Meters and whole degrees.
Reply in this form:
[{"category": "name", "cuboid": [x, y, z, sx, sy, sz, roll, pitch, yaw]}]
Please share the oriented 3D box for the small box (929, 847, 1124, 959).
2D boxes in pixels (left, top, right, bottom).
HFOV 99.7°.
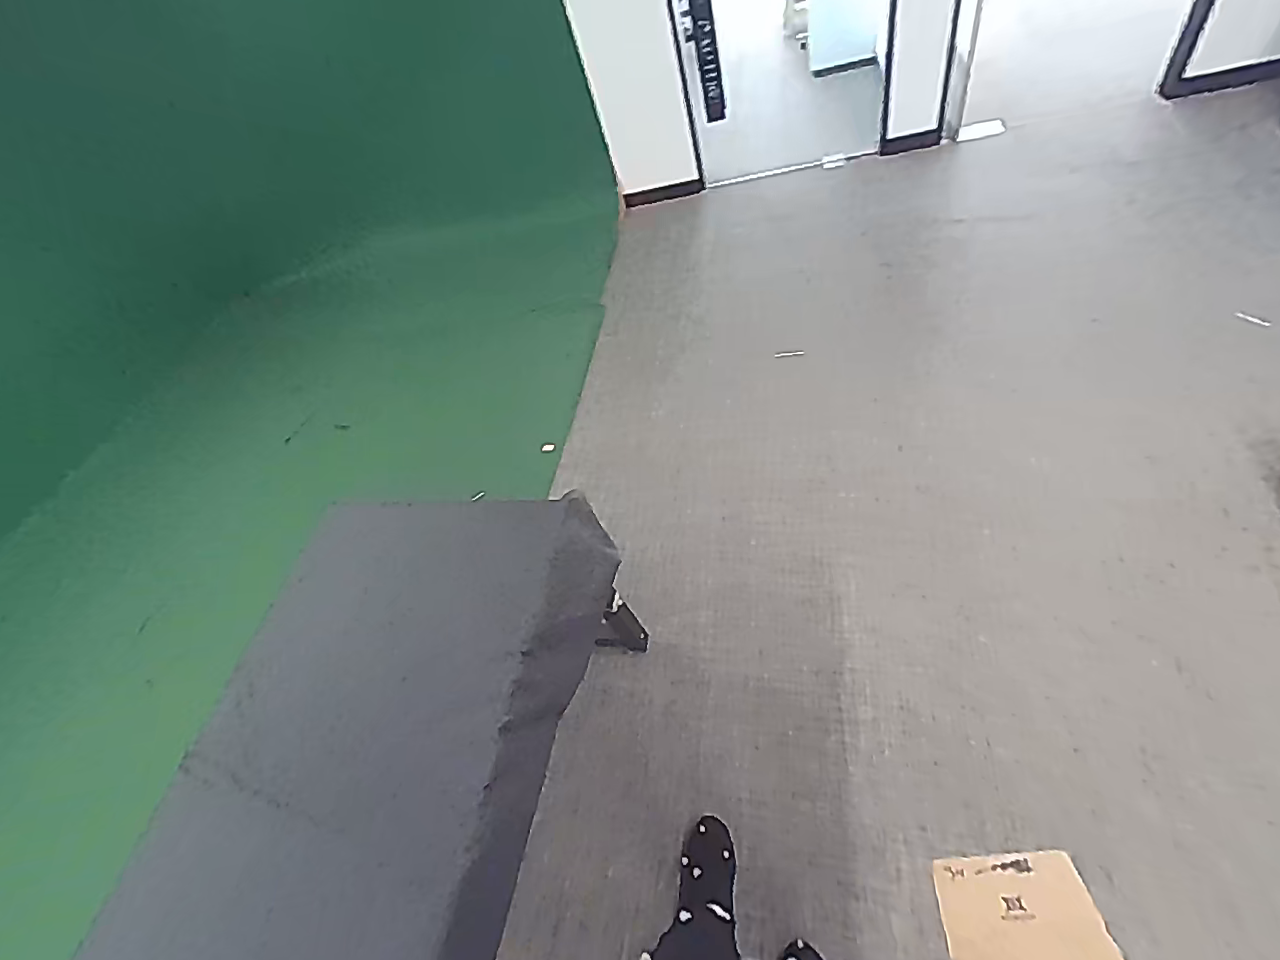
[{"category": "small box", "cuboid": [0.471, 0.582, 0.633, 0.168, 0.179, 0.176, -22, 88, 18]}]
